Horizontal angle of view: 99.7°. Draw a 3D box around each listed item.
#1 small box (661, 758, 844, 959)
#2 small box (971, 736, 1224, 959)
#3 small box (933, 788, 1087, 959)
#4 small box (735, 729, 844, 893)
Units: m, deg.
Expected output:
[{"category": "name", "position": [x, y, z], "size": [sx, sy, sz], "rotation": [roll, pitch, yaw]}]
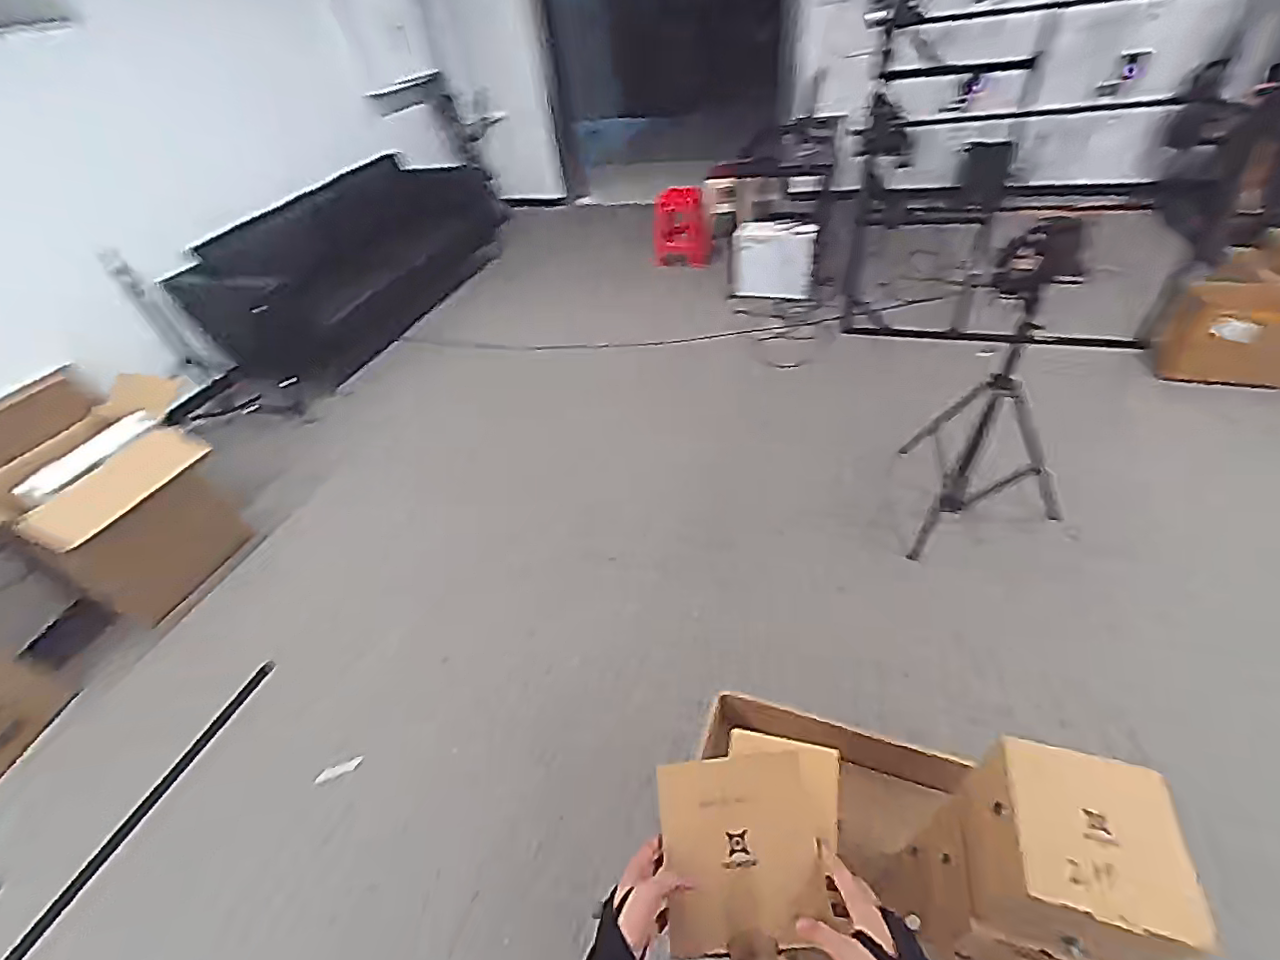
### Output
[{"category": "small box", "position": [0.126, 0.439, 0.632], "size": [0.168, 0.176, 0.179], "rotation": [-11, 54, 7]}, {"category": "small box", "position": [0.524, 0.451, 0.657], "size": [0.168, 0.176, 0.179], "rotation": [9, 46, 17]}, {"category": "small box", "position": [0.528, 0.577, 0.764], "size": [0.168, 0.176, 0.179], "rotation": [9, 45, 17]}, {"category": "small box", "position": [0.226, 0.532, 0.863], "size": [0.168, 0.176, 0.179], "rotation": [6, 46, 15]}]
